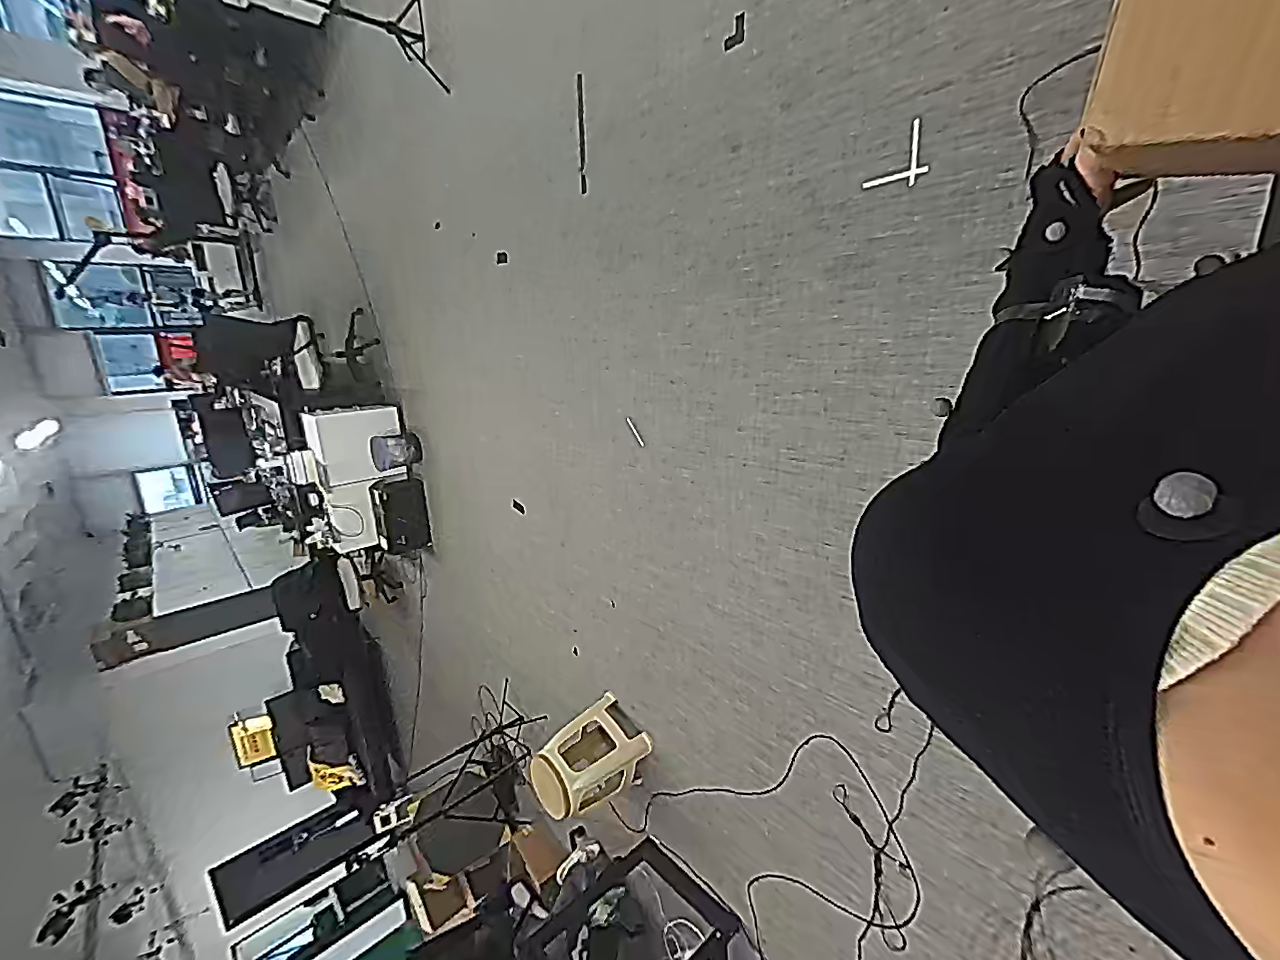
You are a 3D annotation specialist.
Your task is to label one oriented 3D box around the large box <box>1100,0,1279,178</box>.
[{"bbox_3d":[0.451,-0.294,0.173,0.408,0.320,0.320,19,123,36],"label":"large box"}]
